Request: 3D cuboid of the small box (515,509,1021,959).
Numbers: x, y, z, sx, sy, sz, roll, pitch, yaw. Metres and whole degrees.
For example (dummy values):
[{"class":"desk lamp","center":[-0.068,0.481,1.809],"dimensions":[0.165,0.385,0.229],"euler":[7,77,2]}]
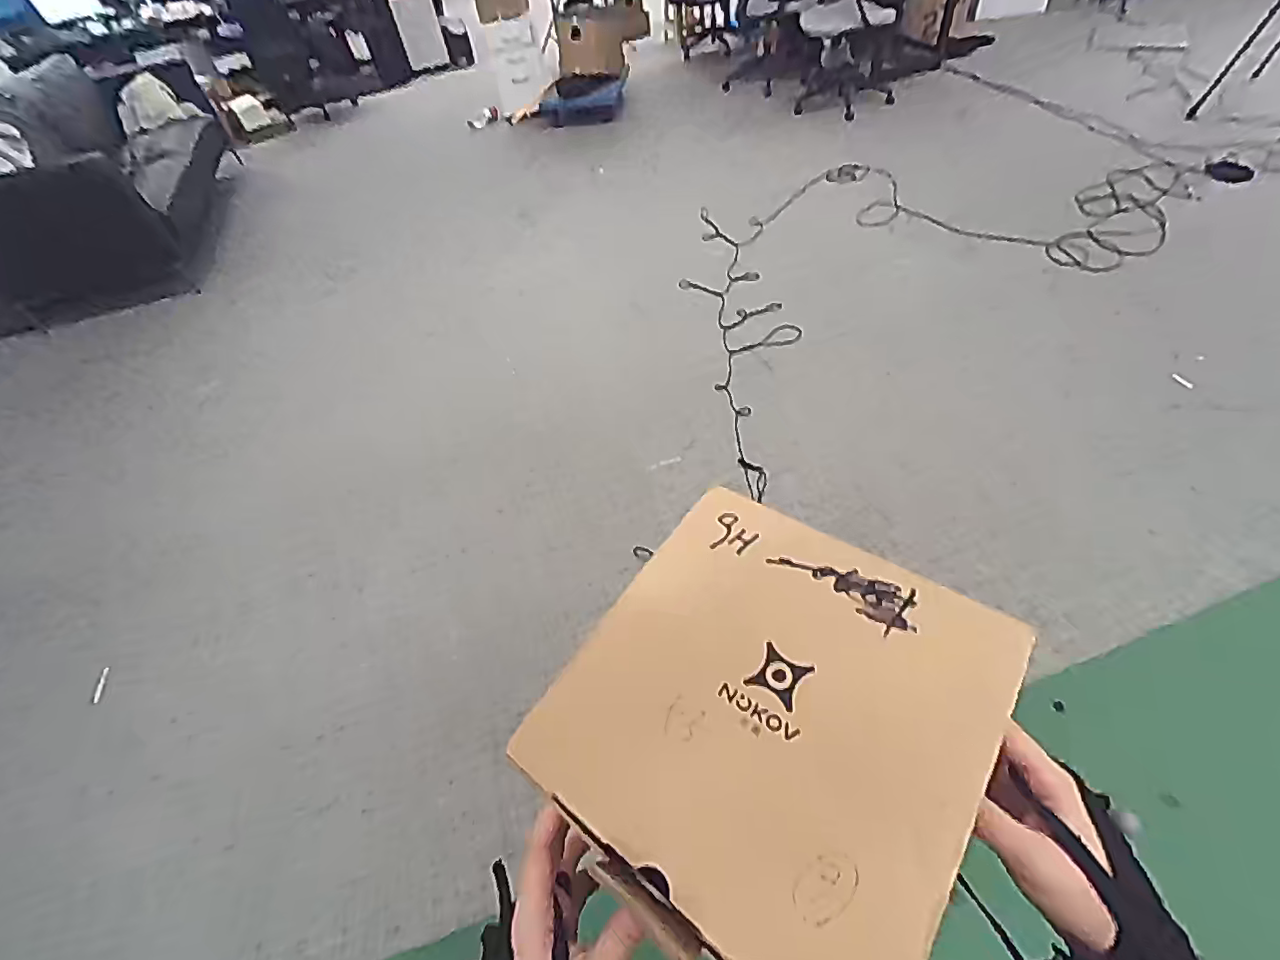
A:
[{"class":"small box","center":[0.069,0.155,0.302],"dimensions":[0.168,0.176,0.179],"euler":[26,60,29]}]
